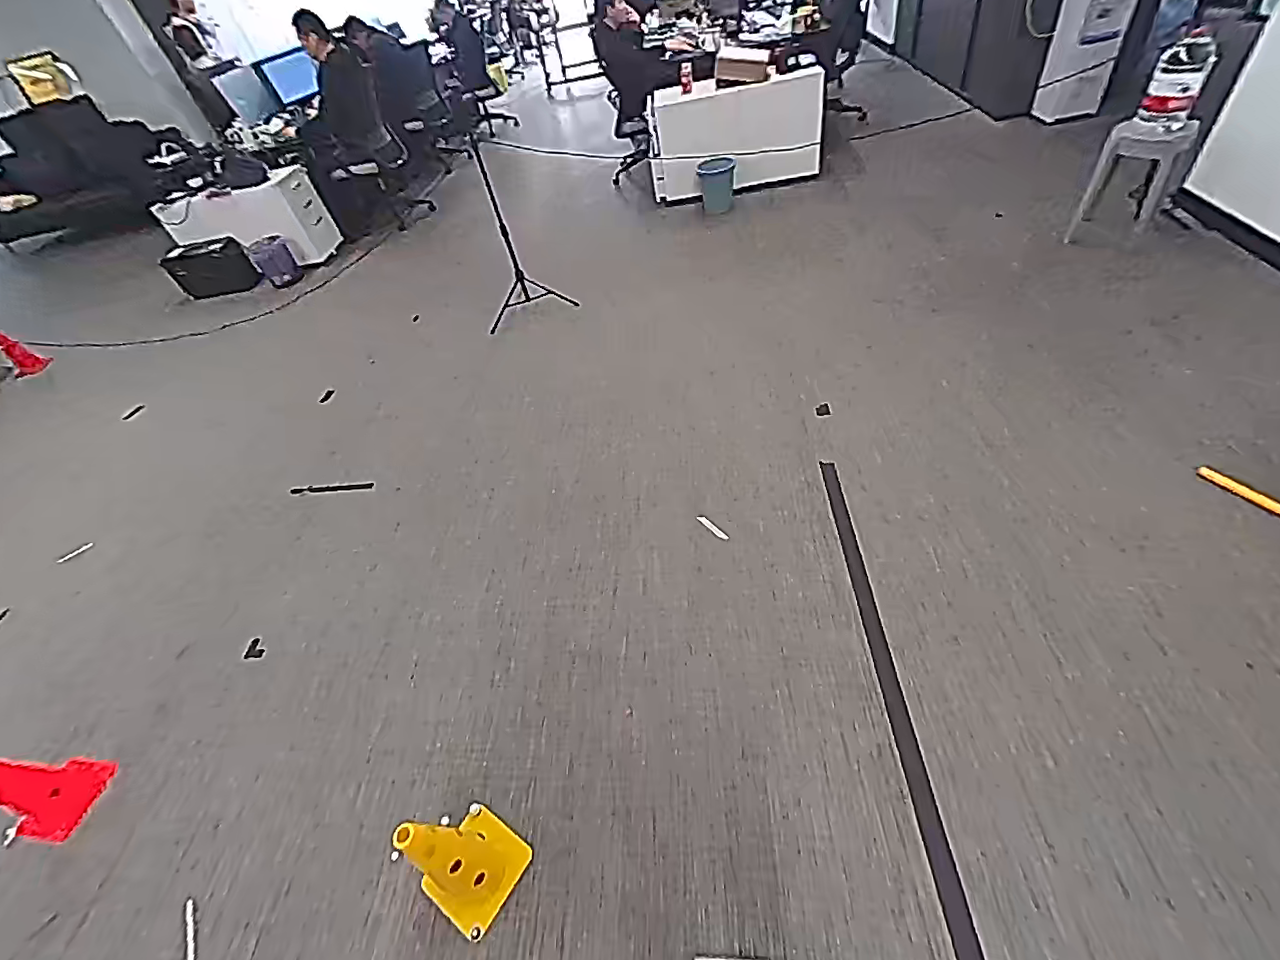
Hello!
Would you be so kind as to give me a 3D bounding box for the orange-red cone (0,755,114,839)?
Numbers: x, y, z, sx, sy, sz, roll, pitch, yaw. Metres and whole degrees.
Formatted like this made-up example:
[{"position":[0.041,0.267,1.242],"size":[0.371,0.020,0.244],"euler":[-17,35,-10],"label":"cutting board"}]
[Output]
[{"position":[-1.672,0.789,1.428],"size":[0.199,0.360,0.198],"euler":[1,48,13],"label":"orange-red cone"}]
